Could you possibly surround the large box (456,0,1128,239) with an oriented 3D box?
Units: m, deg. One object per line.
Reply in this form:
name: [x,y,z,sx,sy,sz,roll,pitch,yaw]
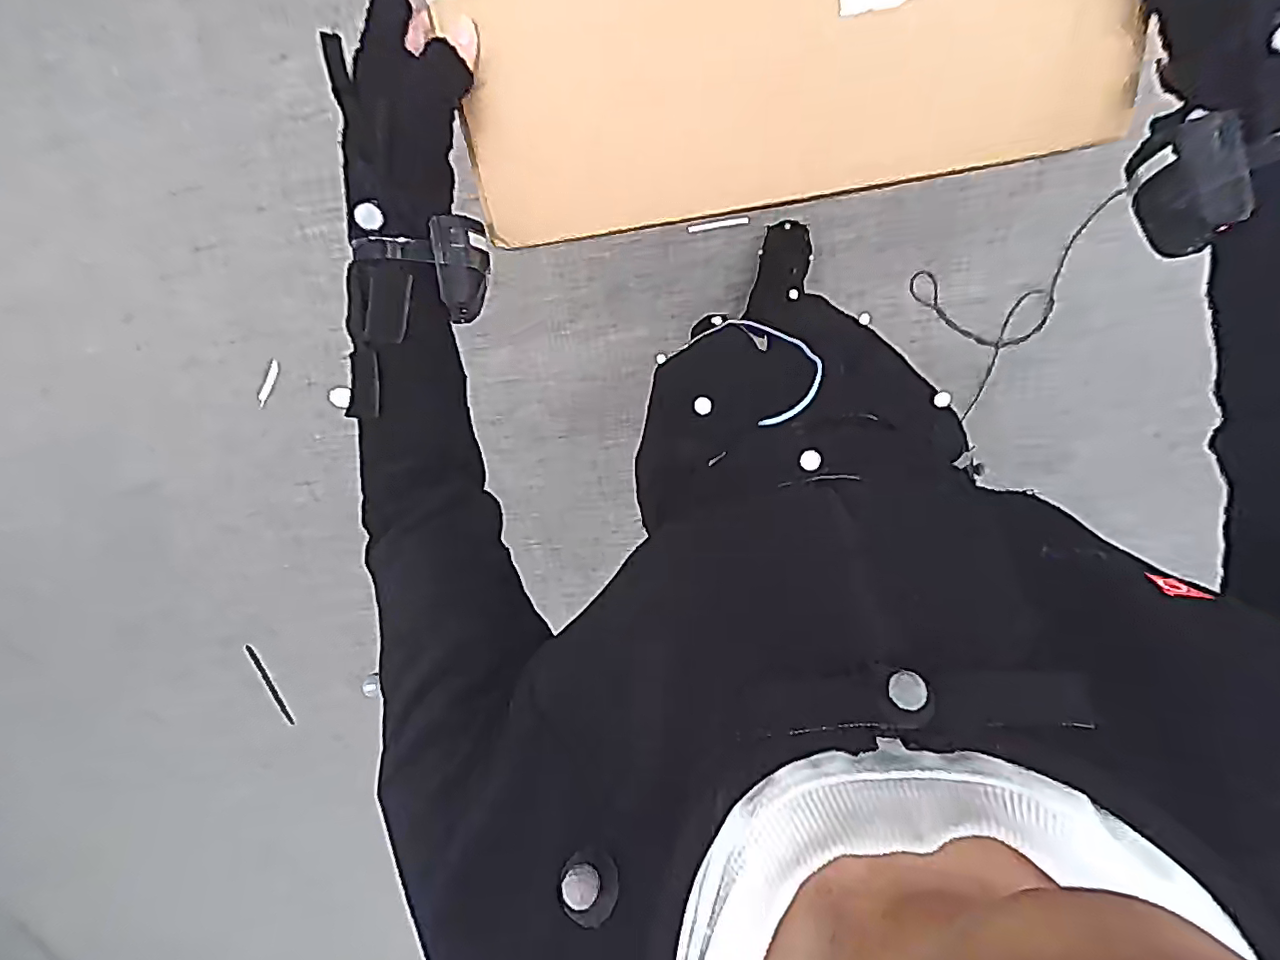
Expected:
large box: [0.087,-0.403,0.442,0.408,0.320,0.320,-6,116,10]
